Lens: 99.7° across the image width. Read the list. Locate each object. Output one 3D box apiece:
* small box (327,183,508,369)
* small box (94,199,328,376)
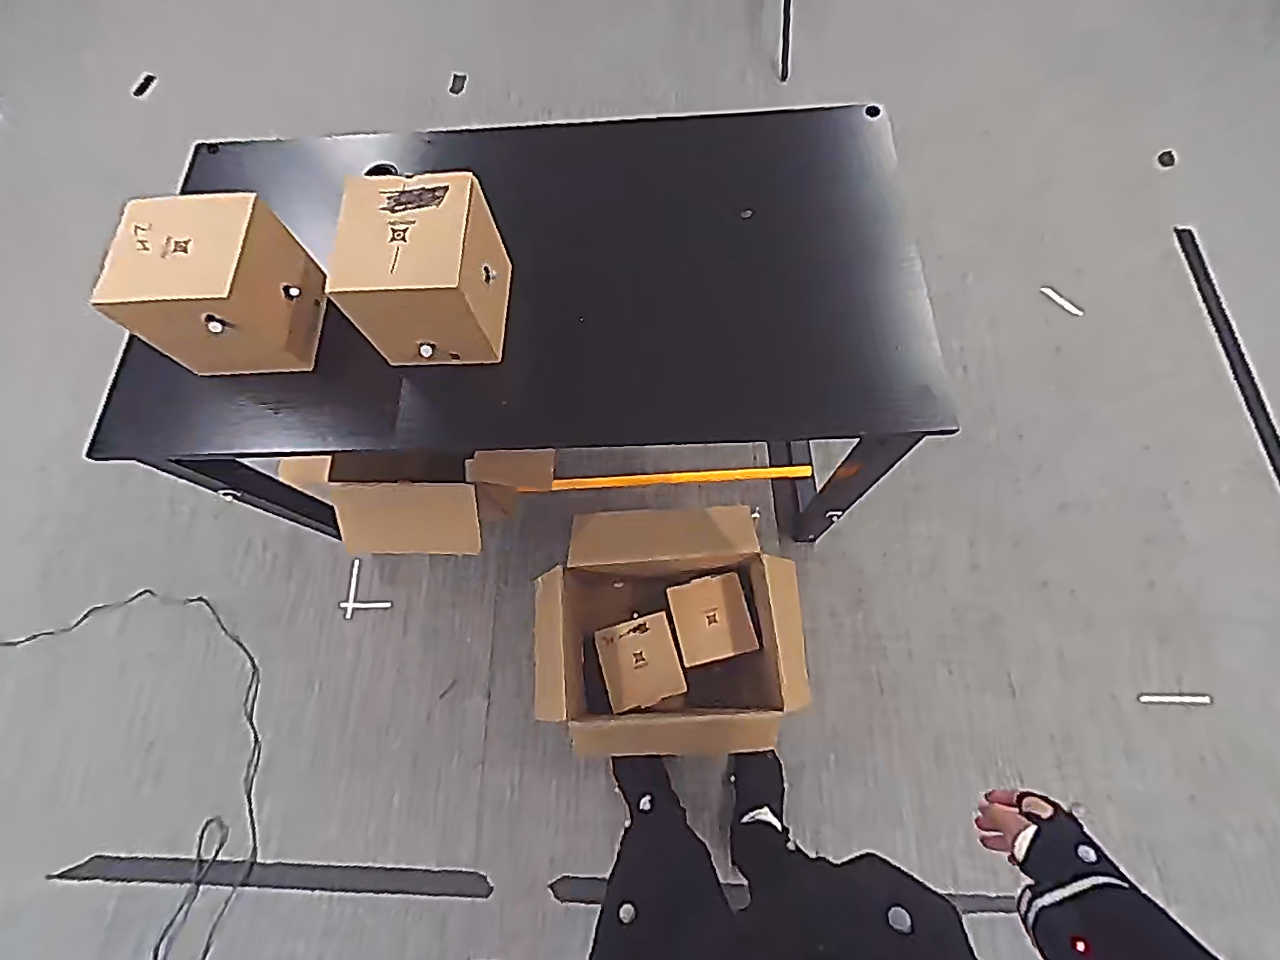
[{"bbox_3d":[-0.287,-0.272,0.741,0.168,0.176,0.179,-1,71,3],"label":"small box"},{"bbox_3d":[-0.571,-0.257,0.751,0.179,0.176,0.168,-2,70,2],"label":"small box"}]
